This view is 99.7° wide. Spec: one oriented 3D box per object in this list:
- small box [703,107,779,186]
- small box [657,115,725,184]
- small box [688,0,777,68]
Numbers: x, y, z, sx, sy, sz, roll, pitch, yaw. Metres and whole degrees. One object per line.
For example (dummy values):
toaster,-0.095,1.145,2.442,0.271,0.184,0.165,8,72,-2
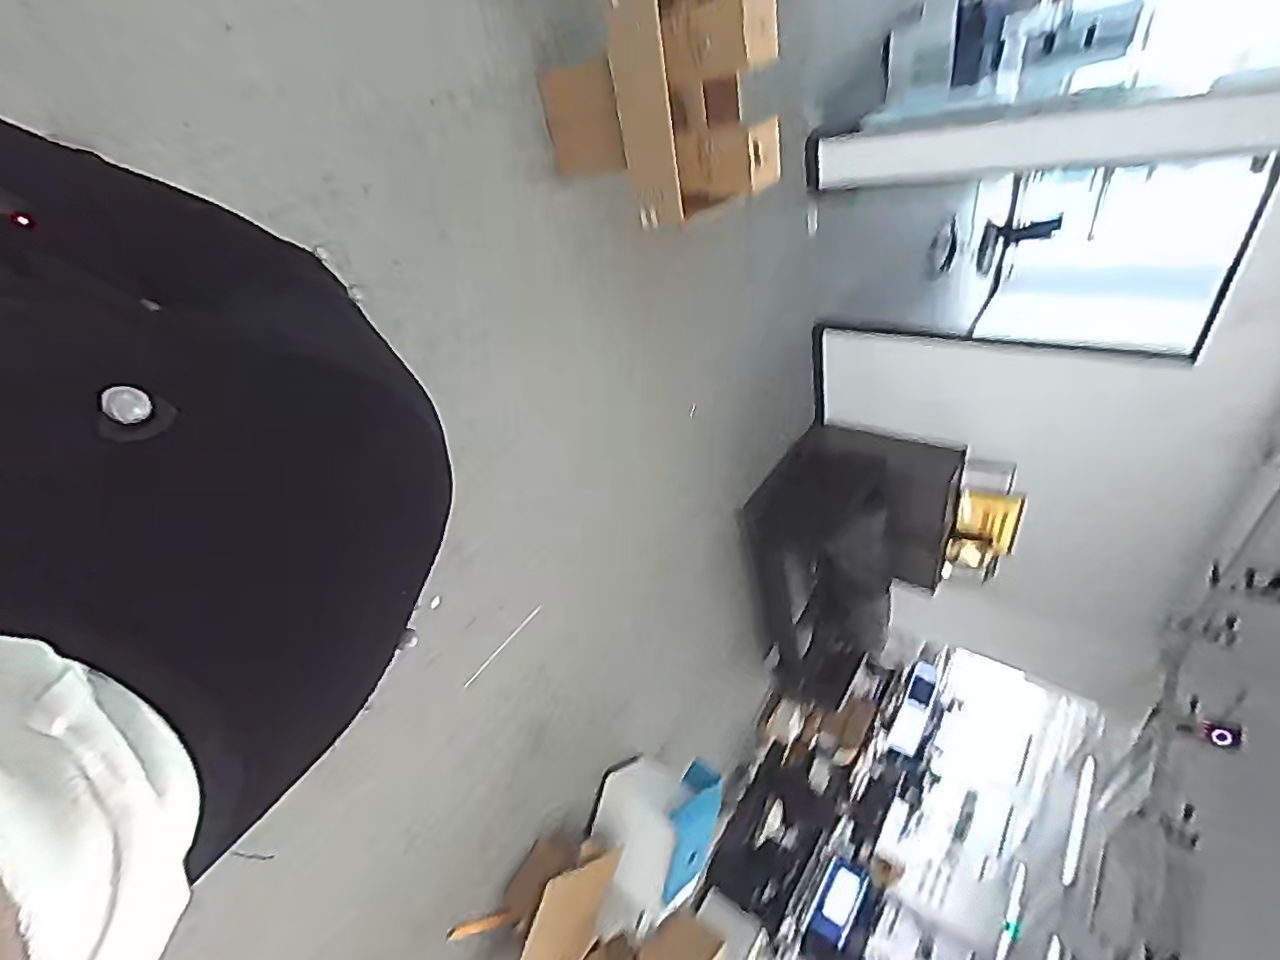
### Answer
small box,0.301,-1.003,1.632,0.179,0.176,0.168,-44,136,-32
small box,0.178,-1.056,1.728,0.179,0.176,0.168,-39,134,-35
small box,0.251,-1.240,1.460,0.179,0.176,0.168,-44,135,-32
